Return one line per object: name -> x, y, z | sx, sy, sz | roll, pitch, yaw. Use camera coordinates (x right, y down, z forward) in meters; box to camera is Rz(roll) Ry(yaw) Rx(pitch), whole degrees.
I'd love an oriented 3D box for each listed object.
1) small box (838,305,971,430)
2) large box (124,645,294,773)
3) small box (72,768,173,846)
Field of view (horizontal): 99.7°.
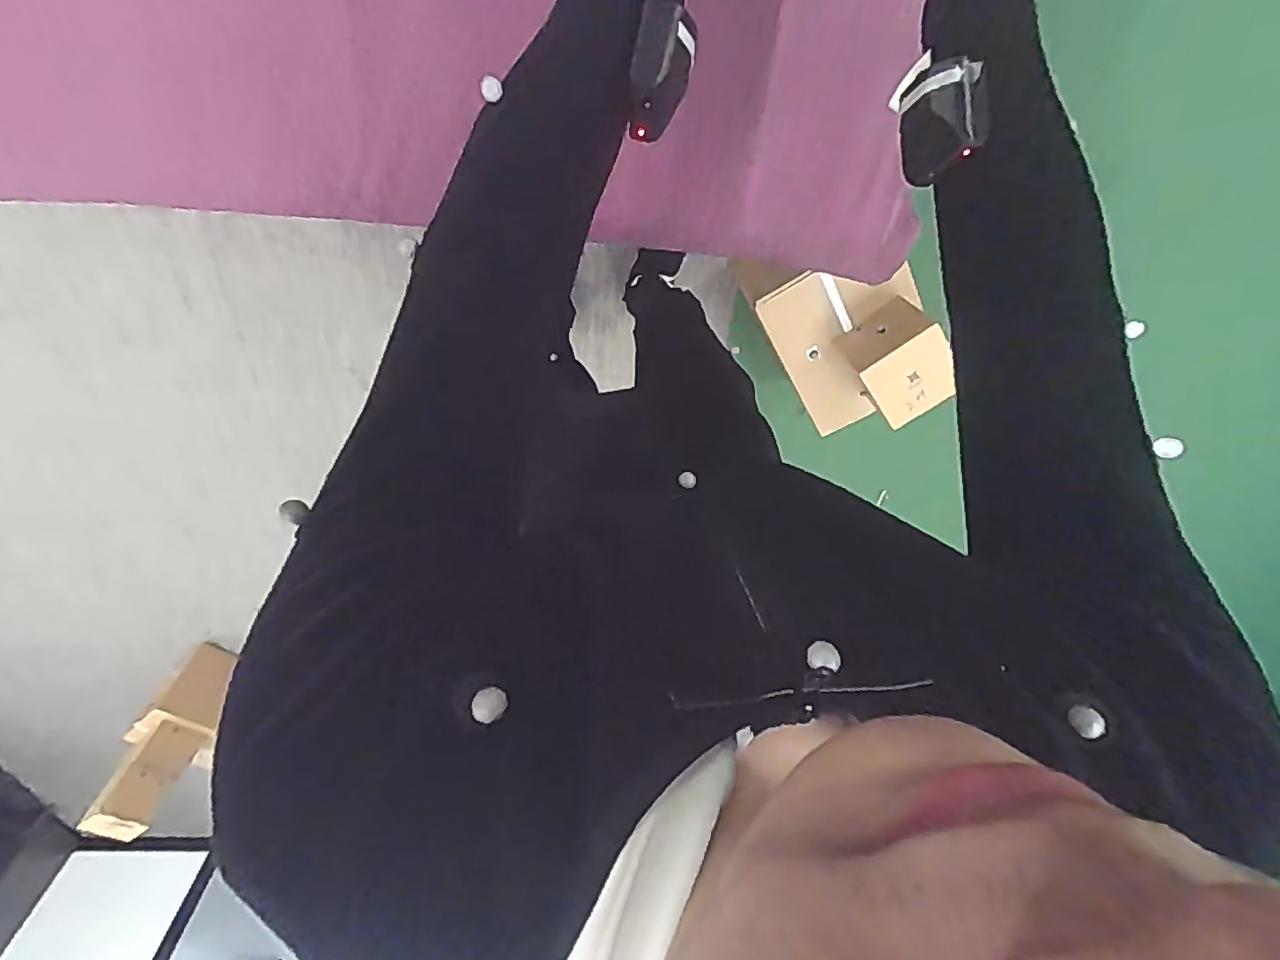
small box -> 0.549, -0.246, 1.142 | 0.168, 0.176, 0.179 | -34, 120, 20
large box -> -1.779, 0.956, 2.258 | 0.320, 0.320, 0.408 | -35, 121, 23
small box -> -1.788, 1.134, 1.880 | 0.179, 0.176, 0.168 | -34, 120, 22
